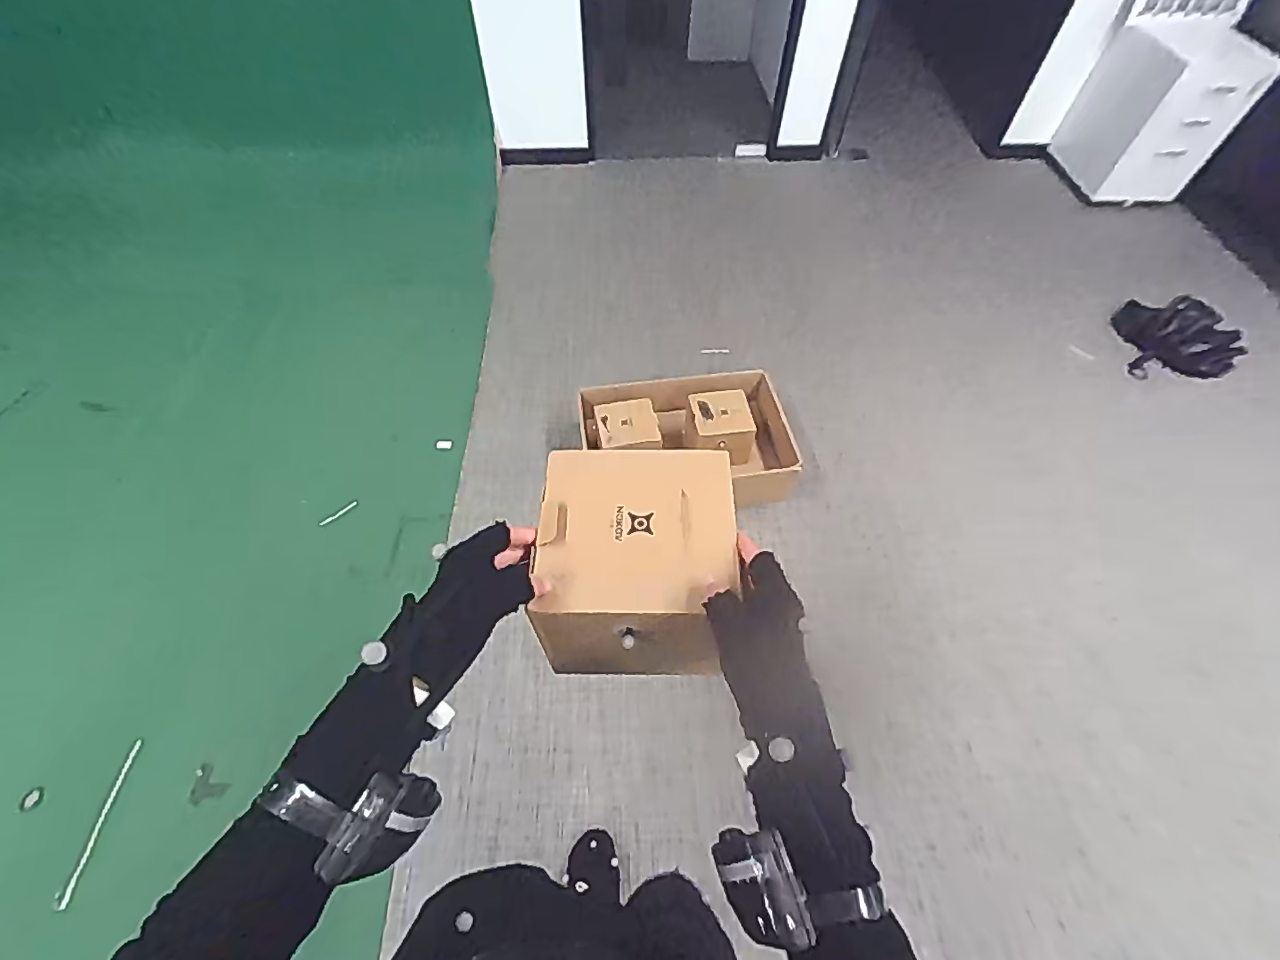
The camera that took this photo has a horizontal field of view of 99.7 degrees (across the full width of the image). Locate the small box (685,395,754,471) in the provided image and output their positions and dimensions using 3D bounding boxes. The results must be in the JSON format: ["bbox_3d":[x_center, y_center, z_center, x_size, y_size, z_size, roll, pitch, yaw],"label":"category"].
[{"bbox_3d":[0.238,-0.142,1.675,0.179,0.176,0.168,-5,56,-5],"label":"small box"}]

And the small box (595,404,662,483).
[{"bbox_3d":[-0.040,-0.108,1.646,0.179,0.176,0.168,-8,55,-9],"label":"small box"}]
